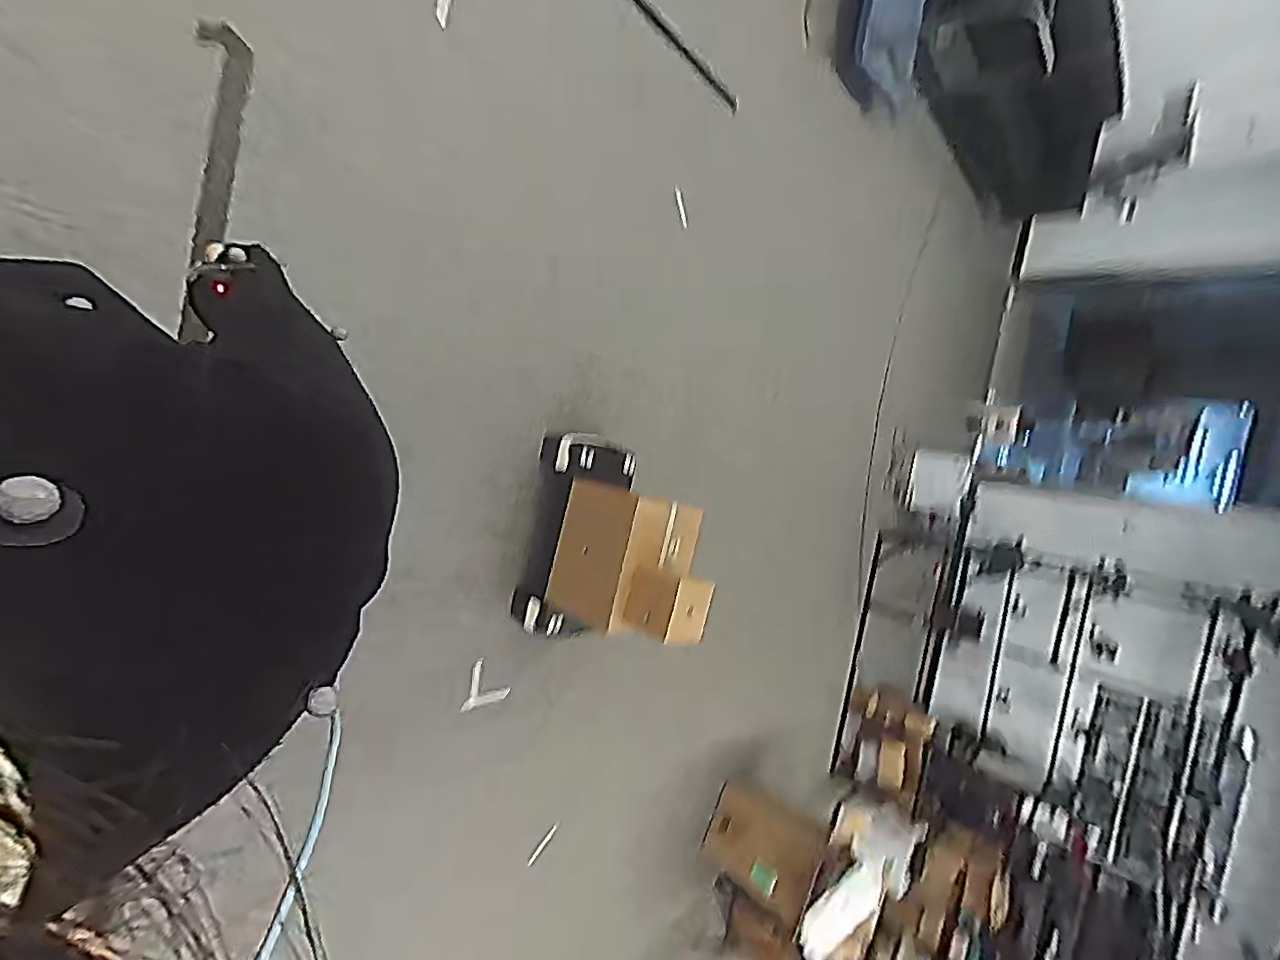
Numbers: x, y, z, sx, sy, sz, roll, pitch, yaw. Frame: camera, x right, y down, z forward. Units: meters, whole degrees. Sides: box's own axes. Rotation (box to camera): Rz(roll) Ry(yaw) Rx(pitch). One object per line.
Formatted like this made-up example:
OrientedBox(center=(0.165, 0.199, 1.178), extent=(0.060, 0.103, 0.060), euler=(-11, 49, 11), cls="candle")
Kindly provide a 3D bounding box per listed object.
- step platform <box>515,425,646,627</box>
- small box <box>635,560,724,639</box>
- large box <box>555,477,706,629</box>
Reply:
OrientedBox(center=(-0.198, 0.163, 1.886), extent=(0.286, 0.204, 0.684), euler=(16, 87, -46), cls="step platform")
OrientedBox(center=(0.108, 0.339, 1.538), extent=(0.168, 0.176, 0.179), euler=(16, 87, -45), cls="small box")
OrientedBox(center=(-0.033, 0.226, 1.724), extent=(0.320, 0.320, 0.408), euler=(13, 89, -47), cls="large box")
